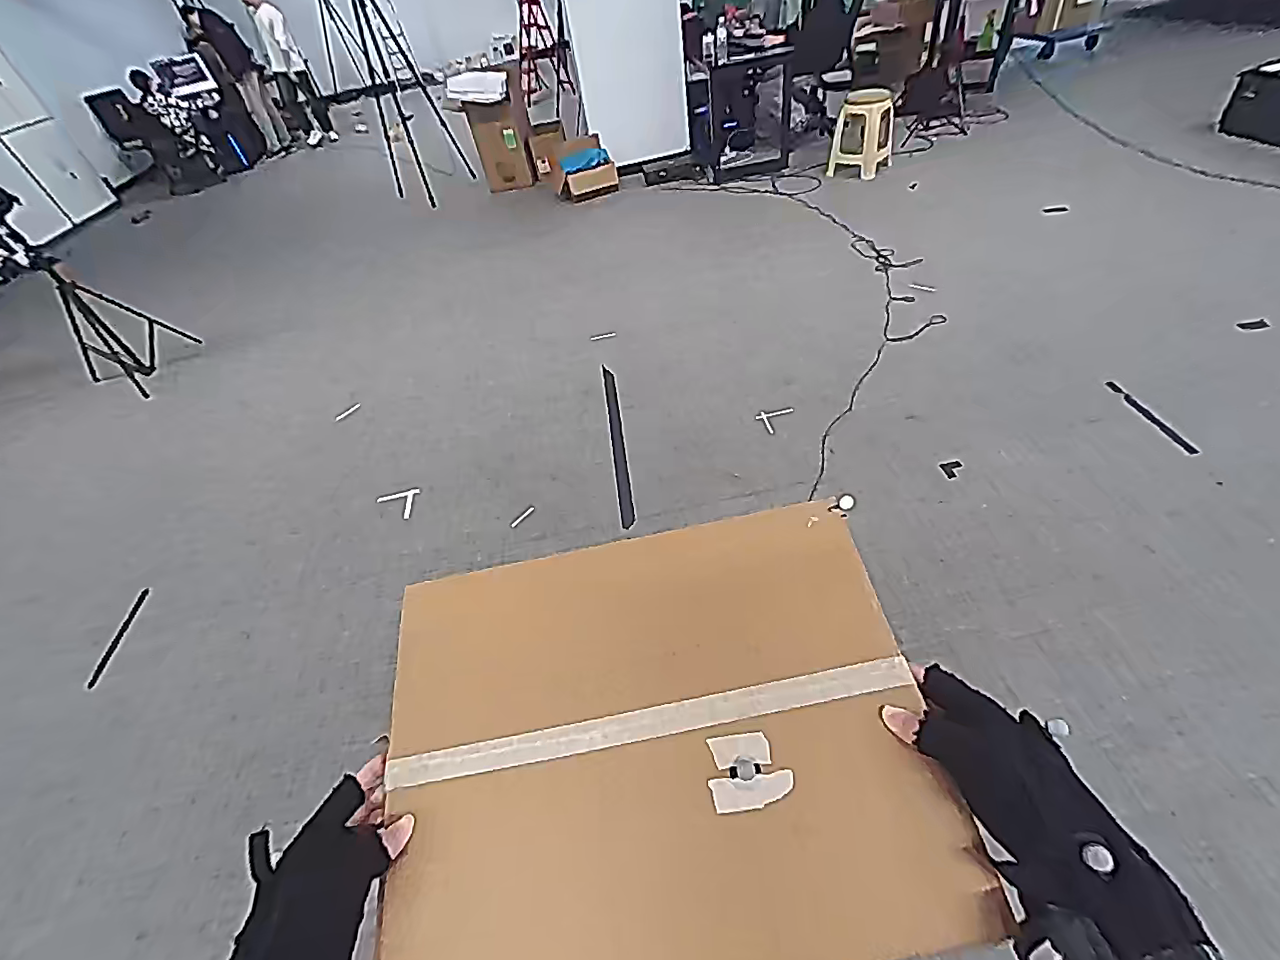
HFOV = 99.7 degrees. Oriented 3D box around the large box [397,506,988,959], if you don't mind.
[{"bbox_3d":[0.027,0.272,0.554,0.408,0.320,0.320,-12,57,2],"label":"large box"}]
